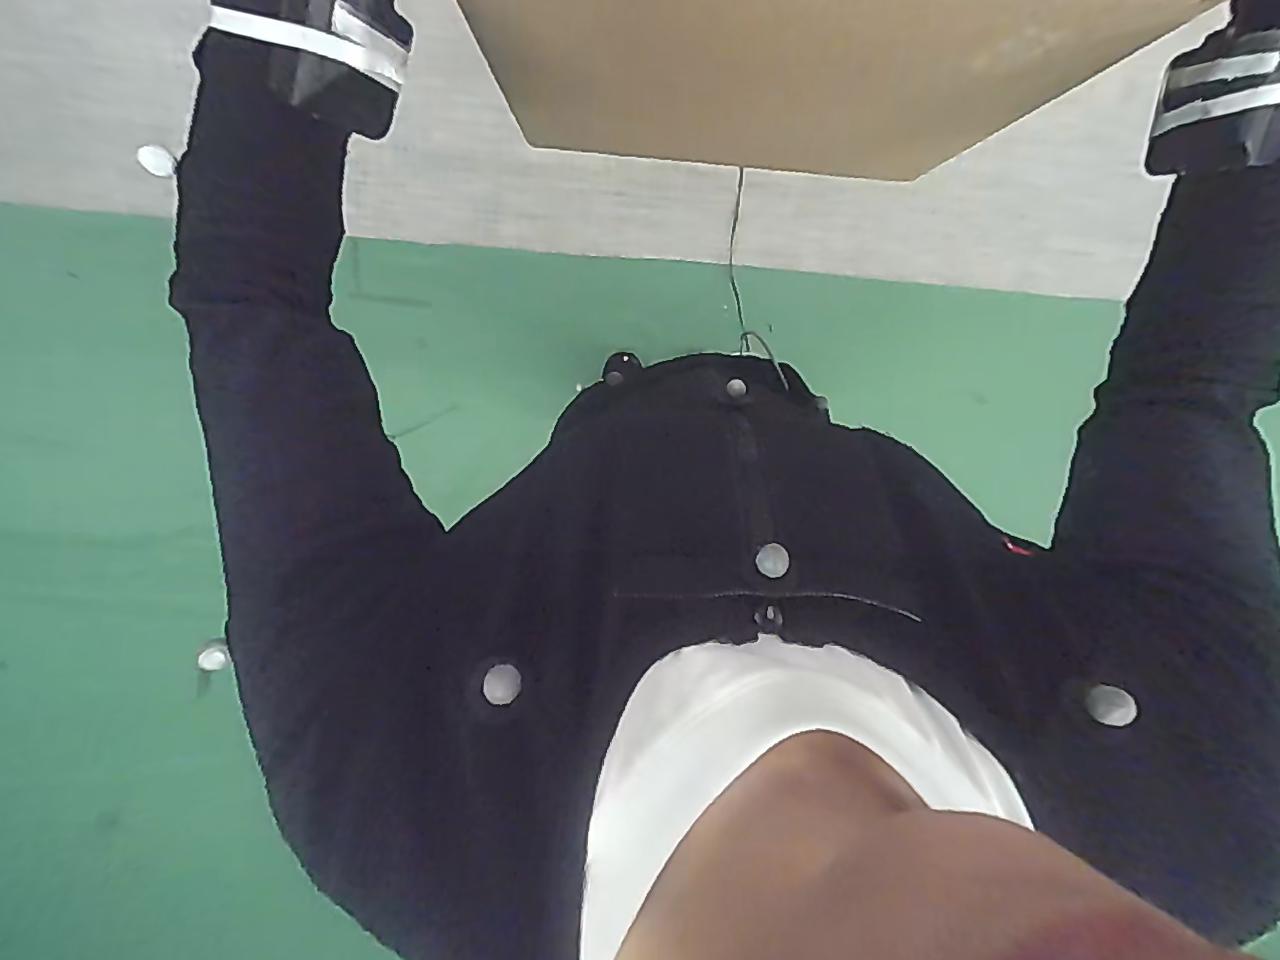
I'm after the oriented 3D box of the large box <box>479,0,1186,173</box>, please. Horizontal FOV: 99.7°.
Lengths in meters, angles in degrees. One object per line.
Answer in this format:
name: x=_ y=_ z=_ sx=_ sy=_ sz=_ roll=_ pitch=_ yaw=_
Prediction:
large box: x=0.101 y=-0.443 z=0.383 sx=0.408 sy=0.320 sz=0.320 roll=3 pitch=104 yaw=-3
